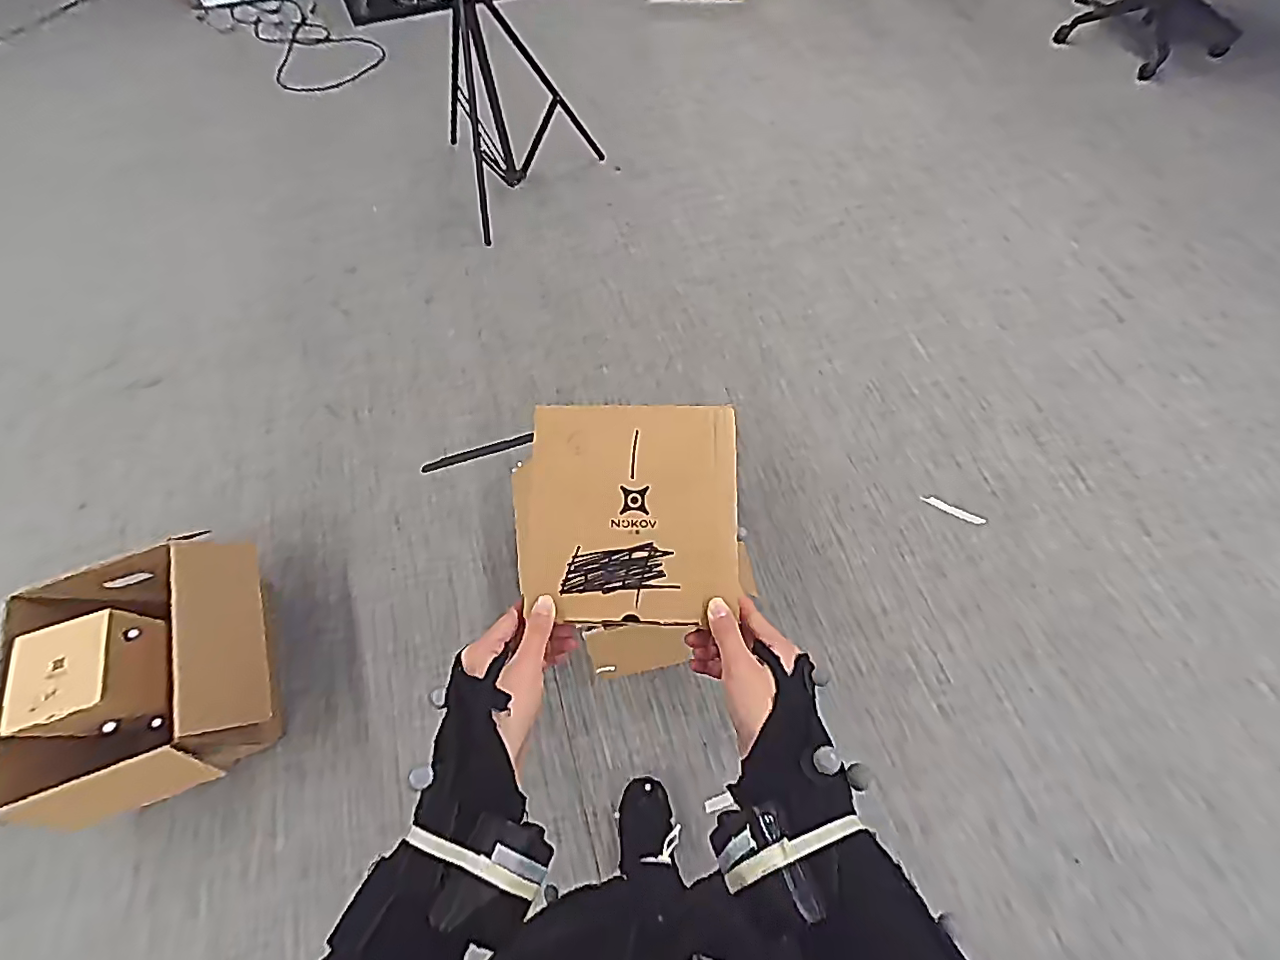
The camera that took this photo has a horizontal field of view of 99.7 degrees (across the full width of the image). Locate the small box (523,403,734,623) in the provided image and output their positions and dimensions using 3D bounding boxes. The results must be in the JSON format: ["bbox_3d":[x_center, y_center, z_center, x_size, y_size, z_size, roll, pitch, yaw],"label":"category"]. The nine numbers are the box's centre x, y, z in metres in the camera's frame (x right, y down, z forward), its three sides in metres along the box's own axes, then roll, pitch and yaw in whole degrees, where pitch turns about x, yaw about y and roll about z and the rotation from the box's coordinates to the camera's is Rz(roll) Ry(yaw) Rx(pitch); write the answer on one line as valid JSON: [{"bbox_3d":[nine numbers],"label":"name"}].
[{"bbox_3d":[-0.003,0.038,0.507,0.168,0.176,0.179,1,77,2],"label":"small box"}]

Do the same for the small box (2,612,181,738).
[{"bbox_3d":[-1.026,0.376,1.032,0.168,0.176,0.179,-18,65,-6],"label":"small box"}]
